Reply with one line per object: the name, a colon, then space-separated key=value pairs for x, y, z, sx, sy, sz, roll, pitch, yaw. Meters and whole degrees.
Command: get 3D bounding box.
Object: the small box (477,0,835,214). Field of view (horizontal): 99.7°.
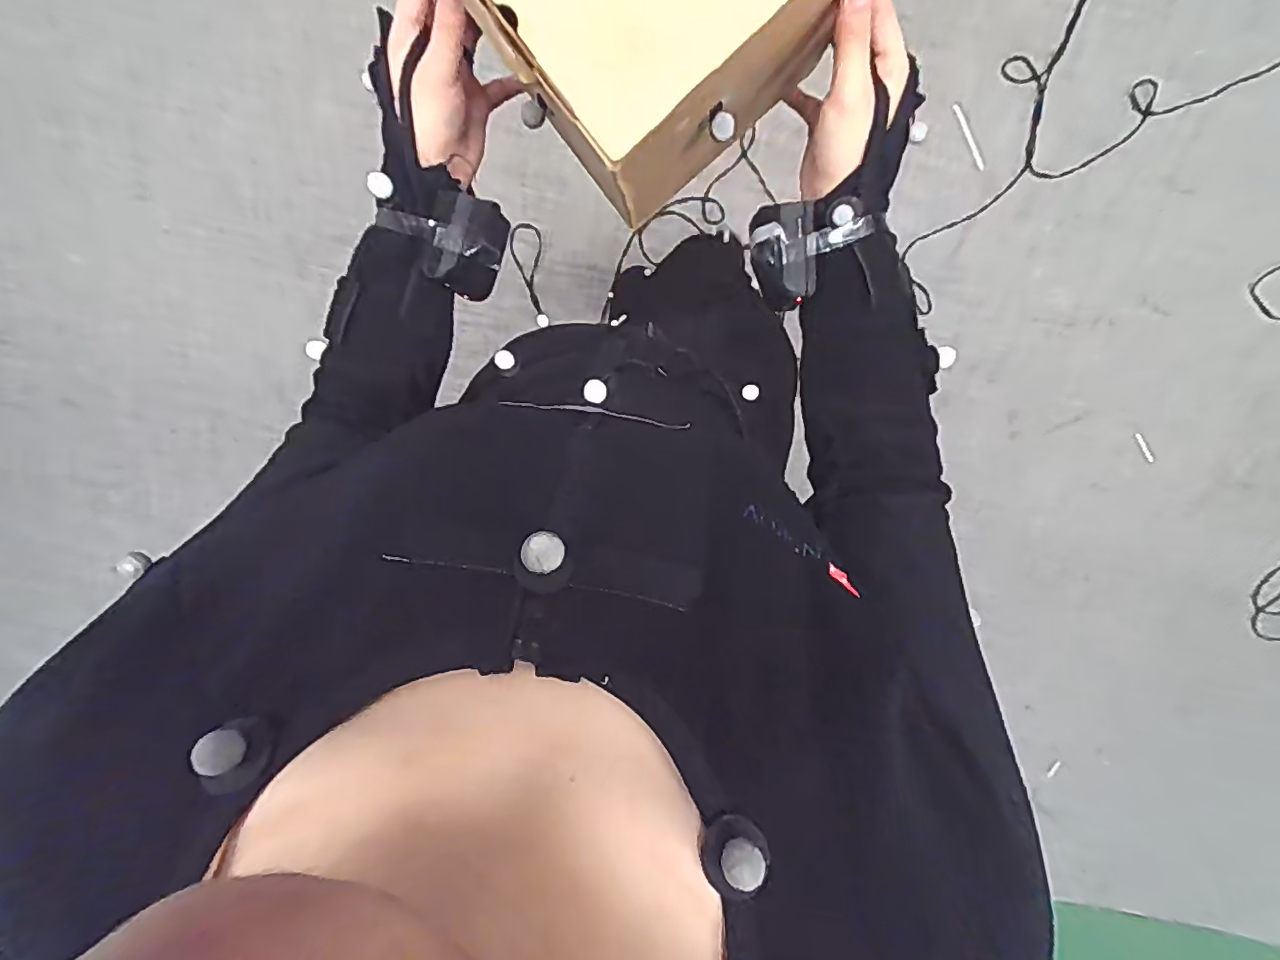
small box: x=0.008 y=-0.296 z=0.326 sx=0.179 sy=0.176 sz=0.168 roll=-38 pitch=100 yaw=12
